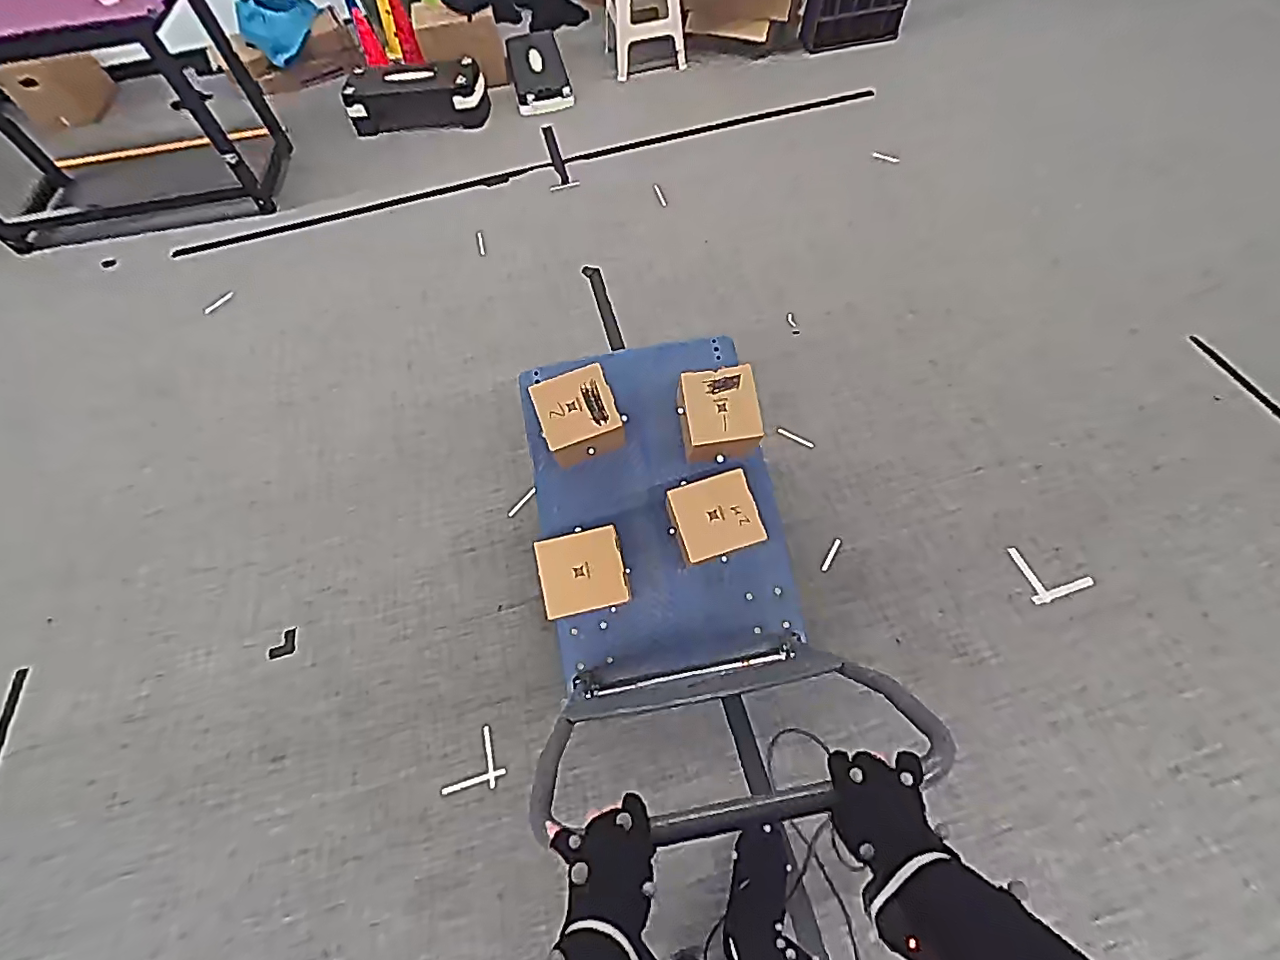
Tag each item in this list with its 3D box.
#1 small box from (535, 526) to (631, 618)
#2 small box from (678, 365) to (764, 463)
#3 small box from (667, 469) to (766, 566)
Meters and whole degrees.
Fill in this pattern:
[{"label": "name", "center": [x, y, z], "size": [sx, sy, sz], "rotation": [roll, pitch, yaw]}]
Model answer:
[{"label": "small box", "center": [-0.122, 0.213, 1.216], "size": [0.179, 0.176, 0.168], "rotation": [-13, 77, -4]}, {"label": "small box", "center": [0.186, -0.152, 1.292], "size": [0.168, 0.176, 0.179], "rotation": [-8, 78, 0]}, {"label": "small box", "center": [0.167, 0.094, 1.236], "size": [0.179, 0.176, 0.168], "rotation": [-17, 77, -2]}]
